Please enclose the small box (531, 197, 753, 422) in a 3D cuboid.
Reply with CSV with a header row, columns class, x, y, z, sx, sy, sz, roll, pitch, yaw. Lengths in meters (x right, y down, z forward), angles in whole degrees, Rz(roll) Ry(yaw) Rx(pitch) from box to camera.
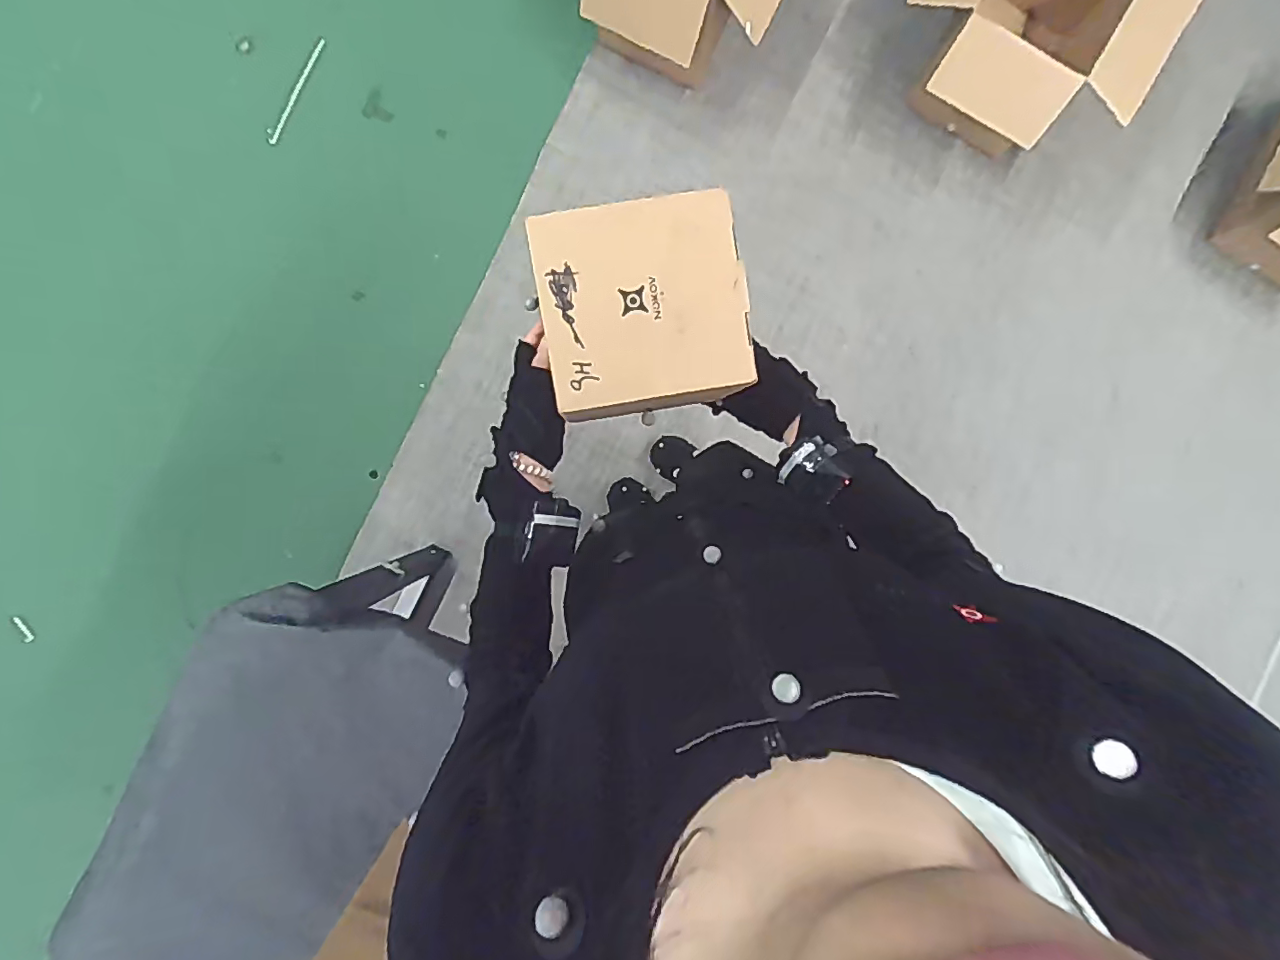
class,x,y,z,sx,sy,sz,roll,pitch,yaw
small box,-0.003,-0.154,0.541,0.179,0.176,0.168,-9,92,-4
